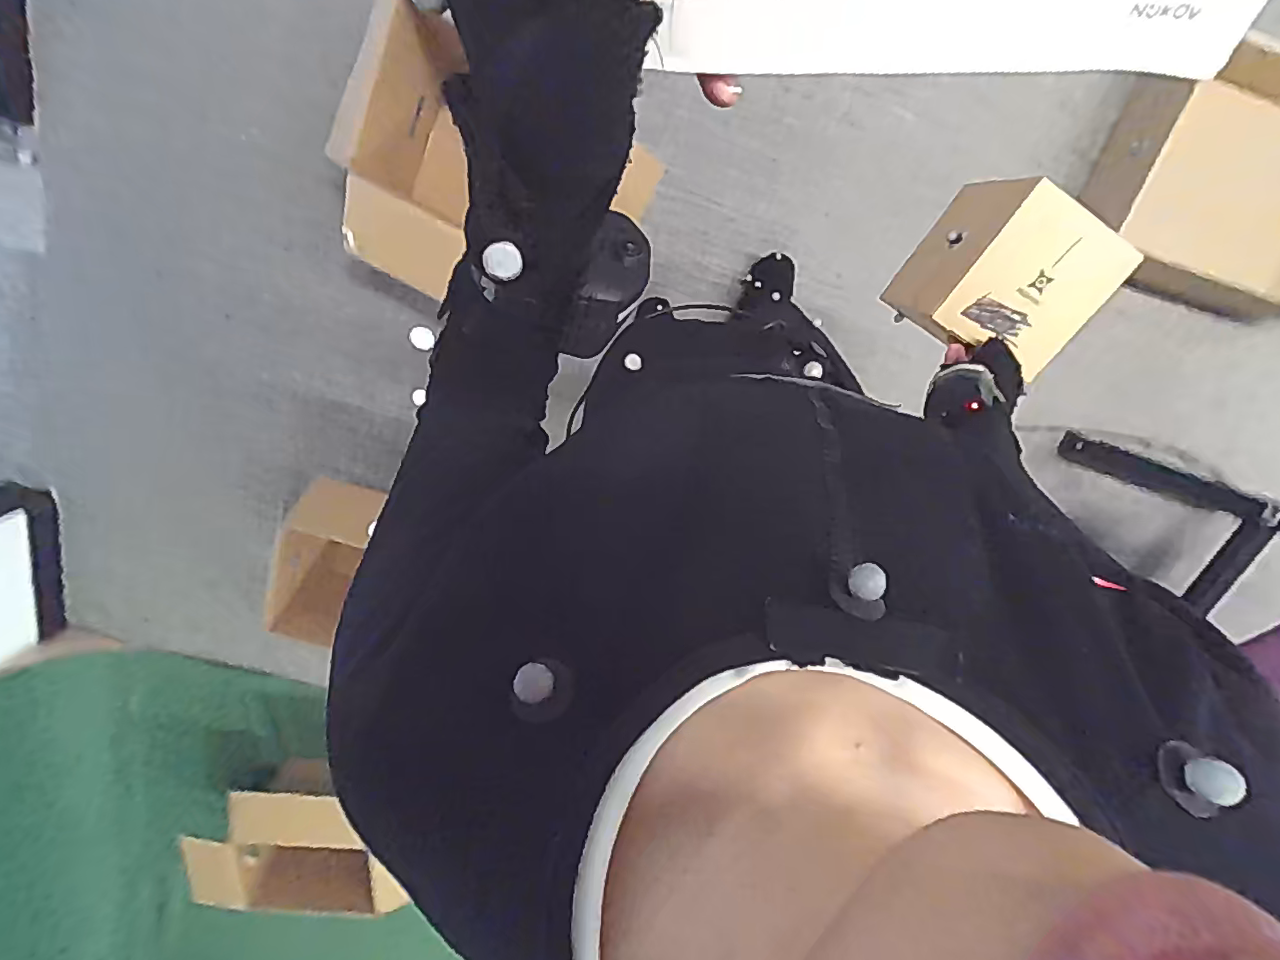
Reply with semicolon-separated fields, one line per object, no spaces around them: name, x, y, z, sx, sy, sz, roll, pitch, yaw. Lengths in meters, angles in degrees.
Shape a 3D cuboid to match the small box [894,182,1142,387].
small box;0.464;-0.253;0.705;0.168;0.176;0.179;28;113;-11
